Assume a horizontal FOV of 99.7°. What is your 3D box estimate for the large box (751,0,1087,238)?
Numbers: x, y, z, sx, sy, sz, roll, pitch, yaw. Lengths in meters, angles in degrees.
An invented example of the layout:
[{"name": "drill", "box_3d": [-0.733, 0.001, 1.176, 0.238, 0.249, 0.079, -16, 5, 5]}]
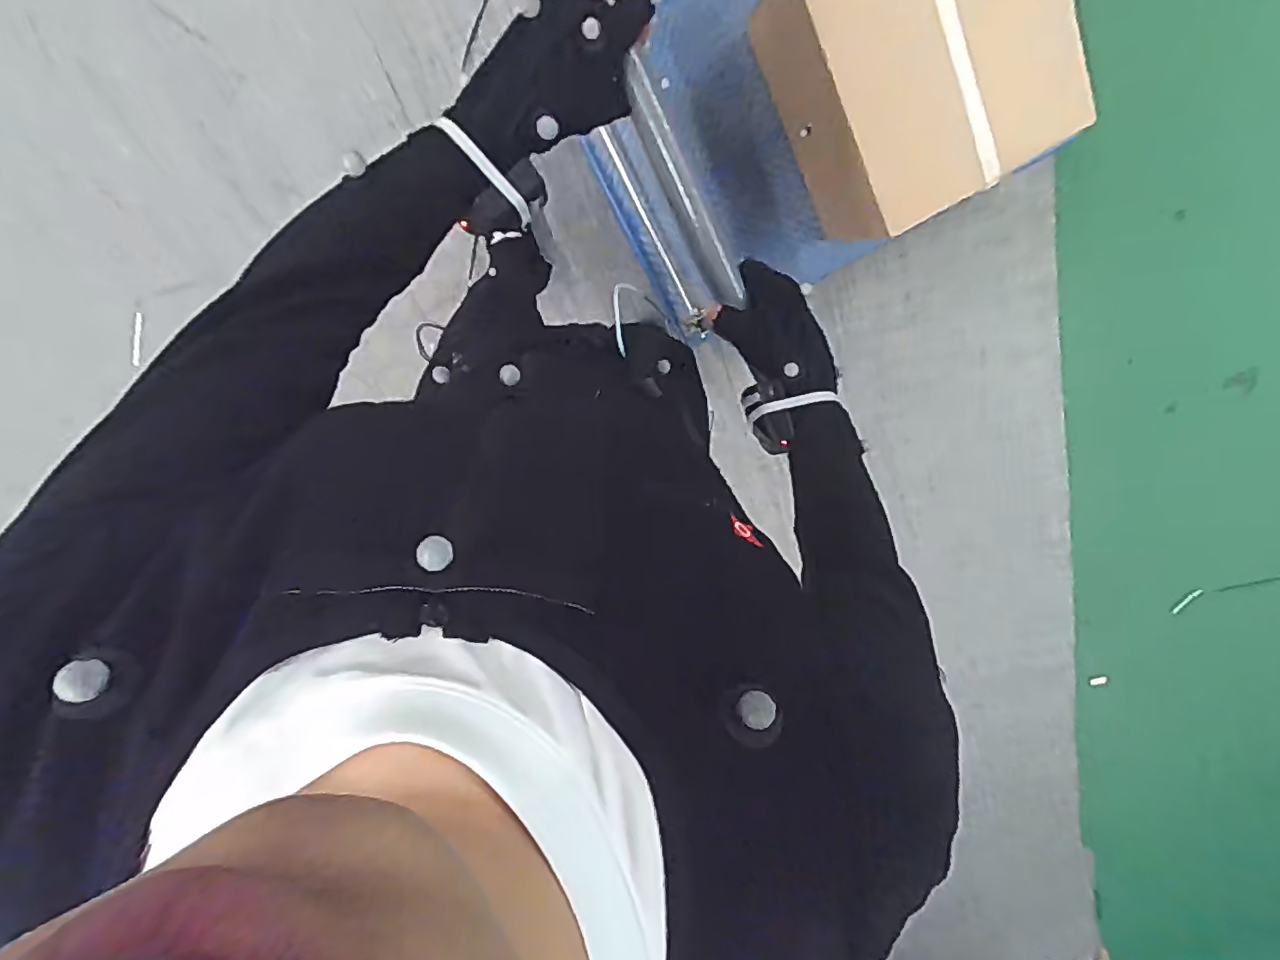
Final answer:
[{"name": "large box", "box_3d": [0.426, -0.668, 0.890, 0.320, 0.320, 0.408, -28, 110, 11]}]
